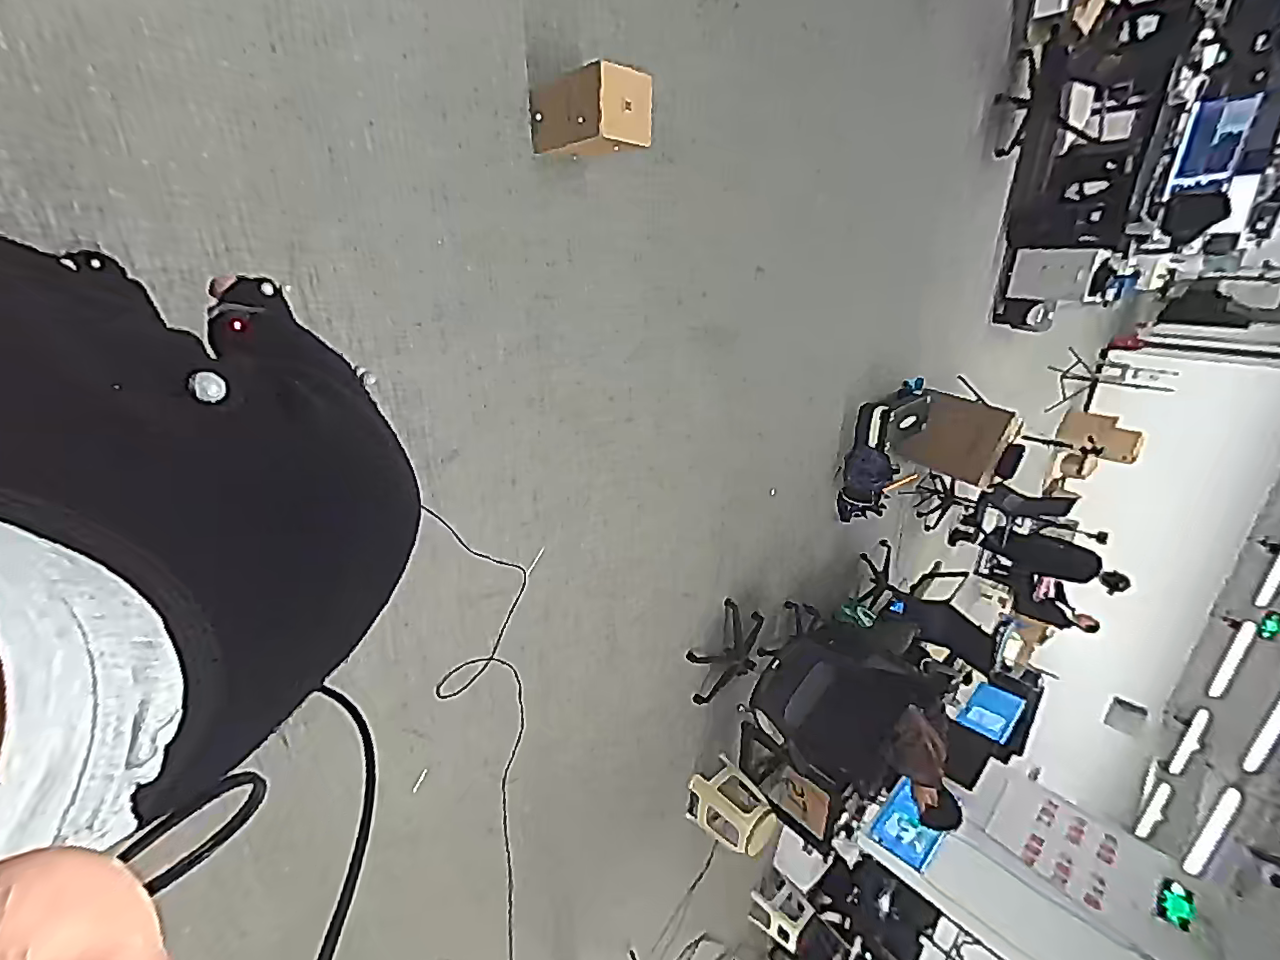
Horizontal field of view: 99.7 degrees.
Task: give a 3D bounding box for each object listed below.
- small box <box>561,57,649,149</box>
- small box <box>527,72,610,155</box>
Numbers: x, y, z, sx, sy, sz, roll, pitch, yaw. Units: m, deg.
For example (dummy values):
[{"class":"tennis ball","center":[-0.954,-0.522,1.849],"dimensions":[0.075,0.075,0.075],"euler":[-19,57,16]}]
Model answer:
[{"class":"small box","center":[-0.098,-0.996,1.446],"dimensions":[0.179,0.176,0.168],"euler":[-19,122,-40]},{"class":"small box","center":[-0.204,-1.045,1.557],"dimensions":[0.179,0.176,0.168],"euler":[-20,121,-38]}]
